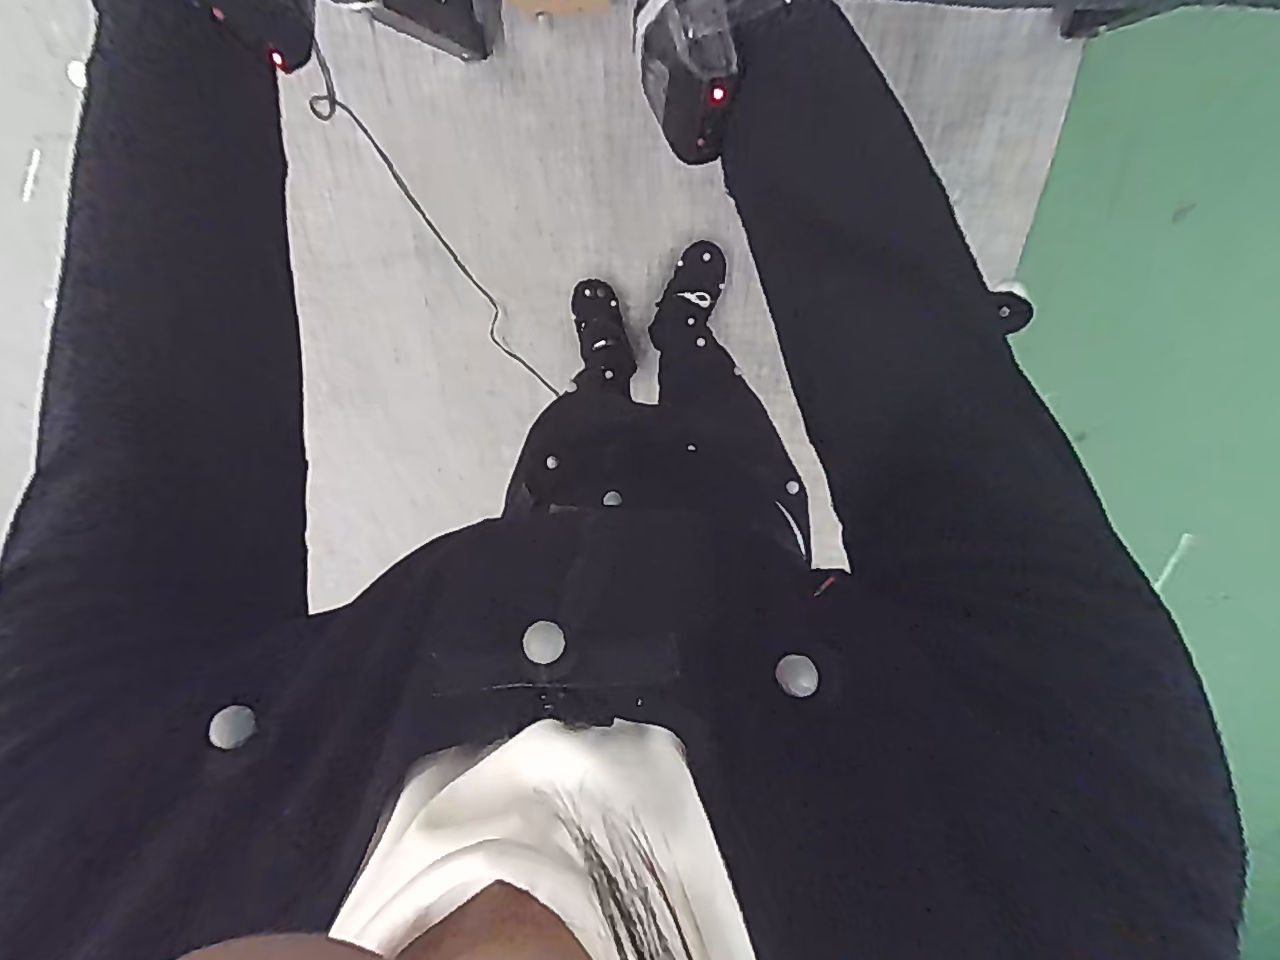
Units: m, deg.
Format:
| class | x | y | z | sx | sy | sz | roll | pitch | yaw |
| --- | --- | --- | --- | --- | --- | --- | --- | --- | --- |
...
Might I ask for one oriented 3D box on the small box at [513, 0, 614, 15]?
| class | x | y | z | sx | sy | sz | roll | pitch | yaw |
| --- | --- | --- | --- | --- | --- | --- | --- | --- | --- |
| small box | -0.137 | -0.919 | 0.915 | 0.168 | 0.176 | 0.179 | -1 | 119 | 5 |
